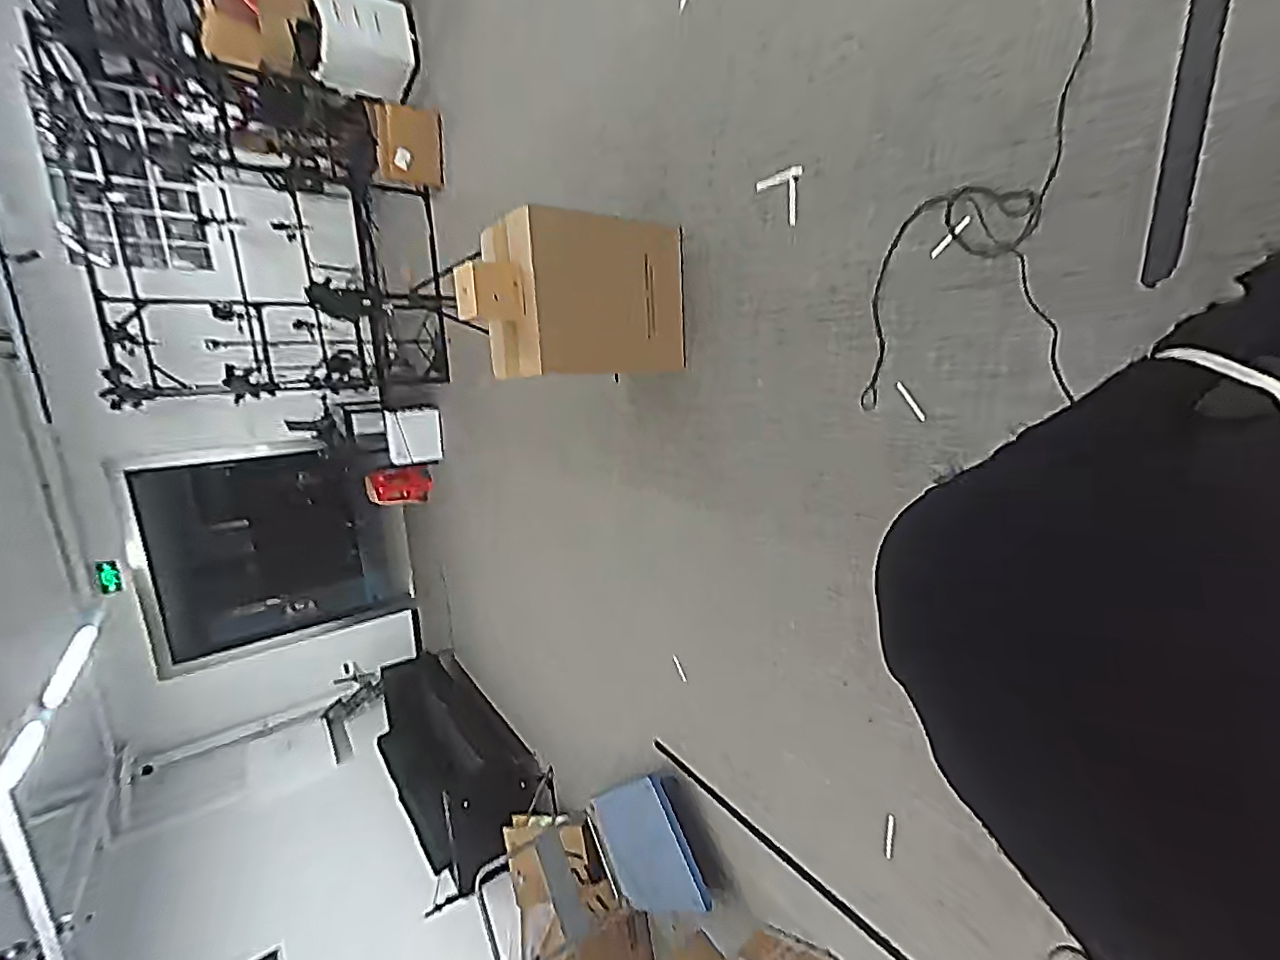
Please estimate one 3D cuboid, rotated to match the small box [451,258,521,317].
[{"bbox_3d":[-0.494,-0.620,1.755,0.179,0.176,0.168,16,113,52],"label":"small box"}]
